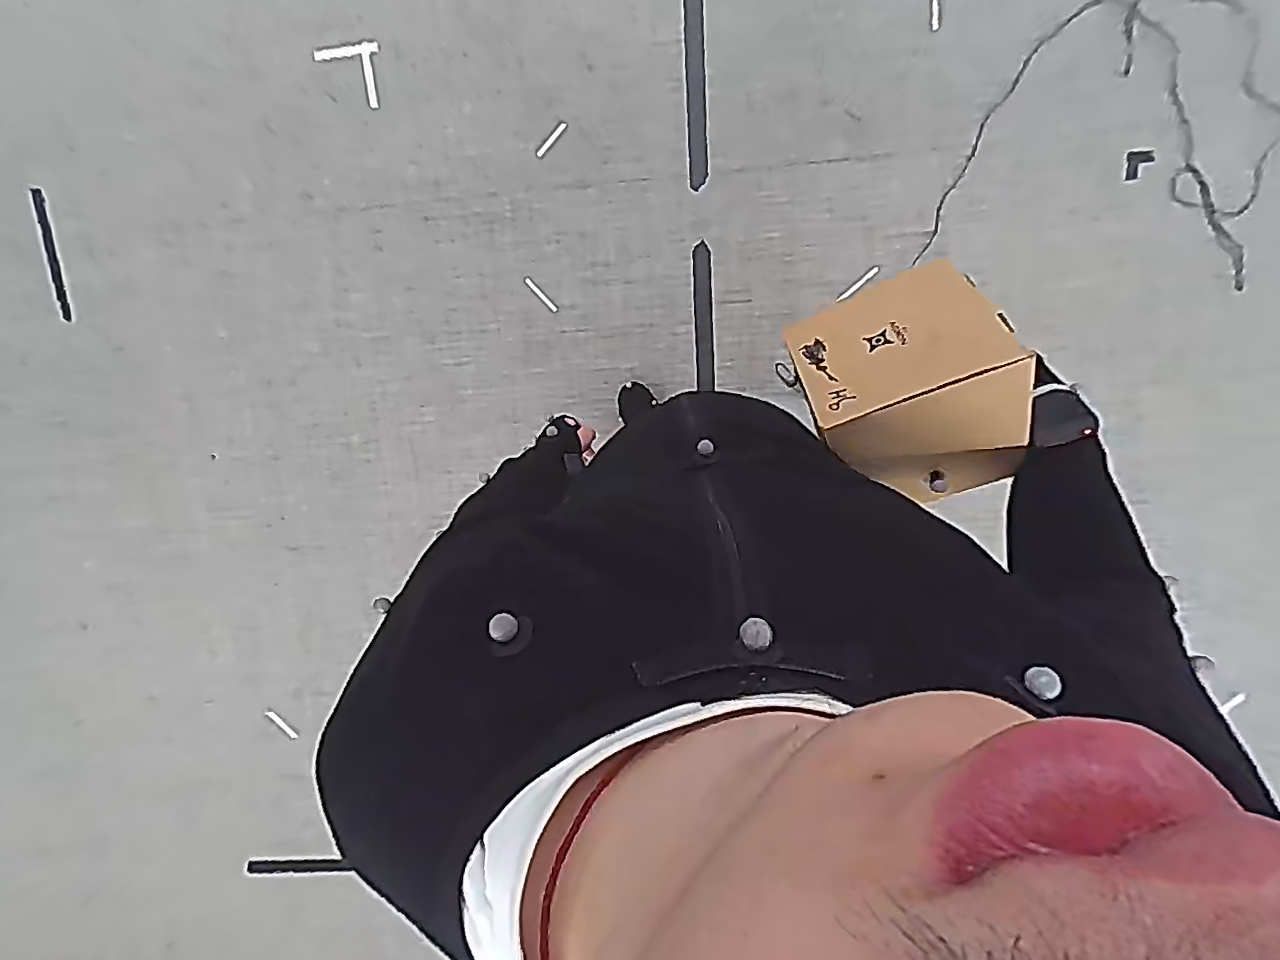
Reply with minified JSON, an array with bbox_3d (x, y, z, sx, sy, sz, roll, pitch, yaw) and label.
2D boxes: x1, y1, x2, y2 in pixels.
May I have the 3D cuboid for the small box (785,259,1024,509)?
[{"bbox_3d":[0.277,-0.095,0.587,0.179,0.168,0.176,-20,136,18],"label":"small box"}]
